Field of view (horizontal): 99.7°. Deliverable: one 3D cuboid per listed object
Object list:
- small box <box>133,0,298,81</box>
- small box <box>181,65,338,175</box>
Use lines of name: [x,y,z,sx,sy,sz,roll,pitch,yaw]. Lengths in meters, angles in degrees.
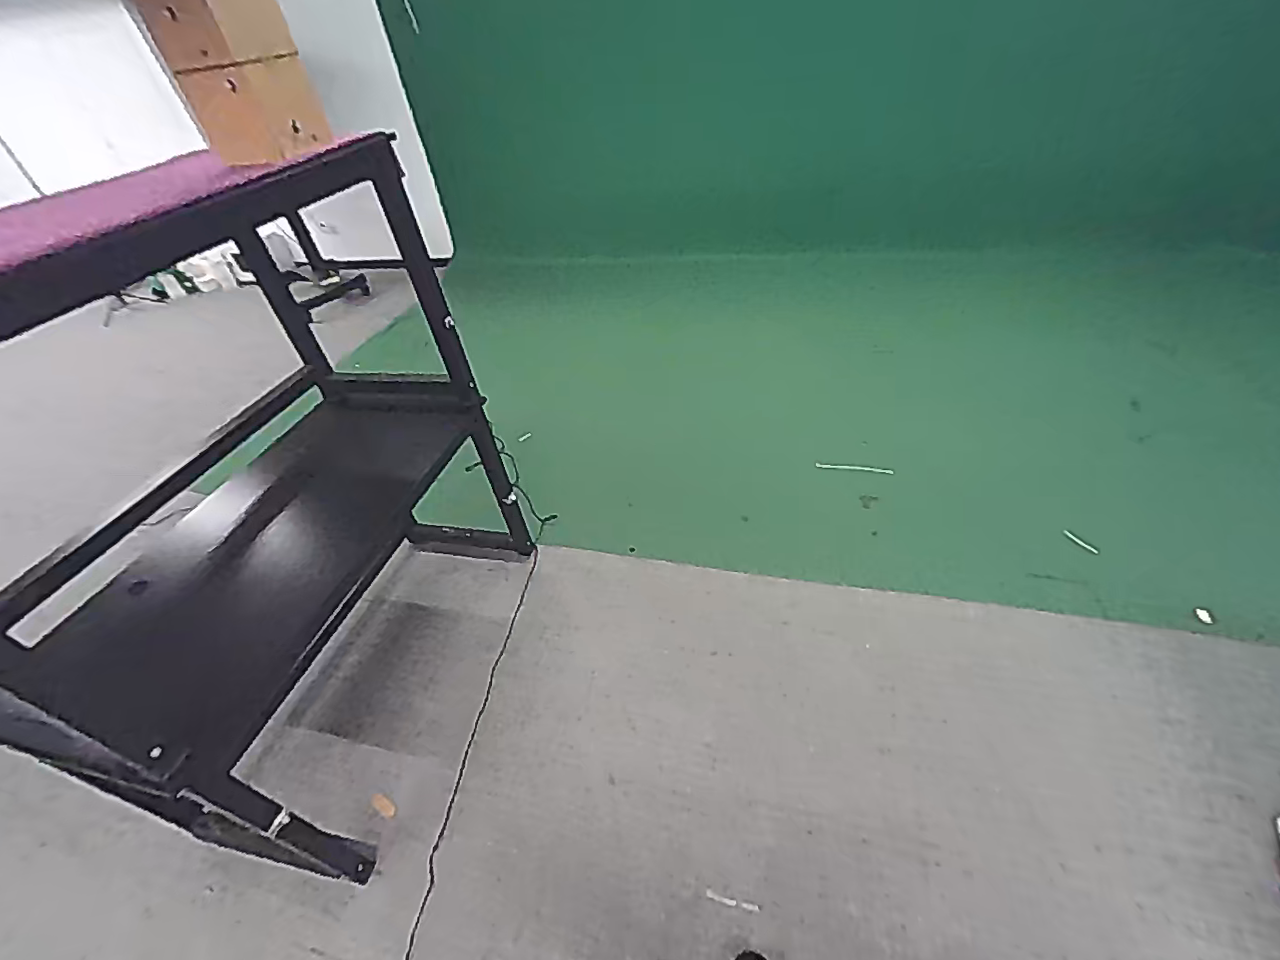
small box: [-0.807,-0.879,1.034,0.168,0.176,0.179,6,43,14]
small box: [-0.794,-0.760,1.148,0.179,0.176,0.168,5,43,15]
